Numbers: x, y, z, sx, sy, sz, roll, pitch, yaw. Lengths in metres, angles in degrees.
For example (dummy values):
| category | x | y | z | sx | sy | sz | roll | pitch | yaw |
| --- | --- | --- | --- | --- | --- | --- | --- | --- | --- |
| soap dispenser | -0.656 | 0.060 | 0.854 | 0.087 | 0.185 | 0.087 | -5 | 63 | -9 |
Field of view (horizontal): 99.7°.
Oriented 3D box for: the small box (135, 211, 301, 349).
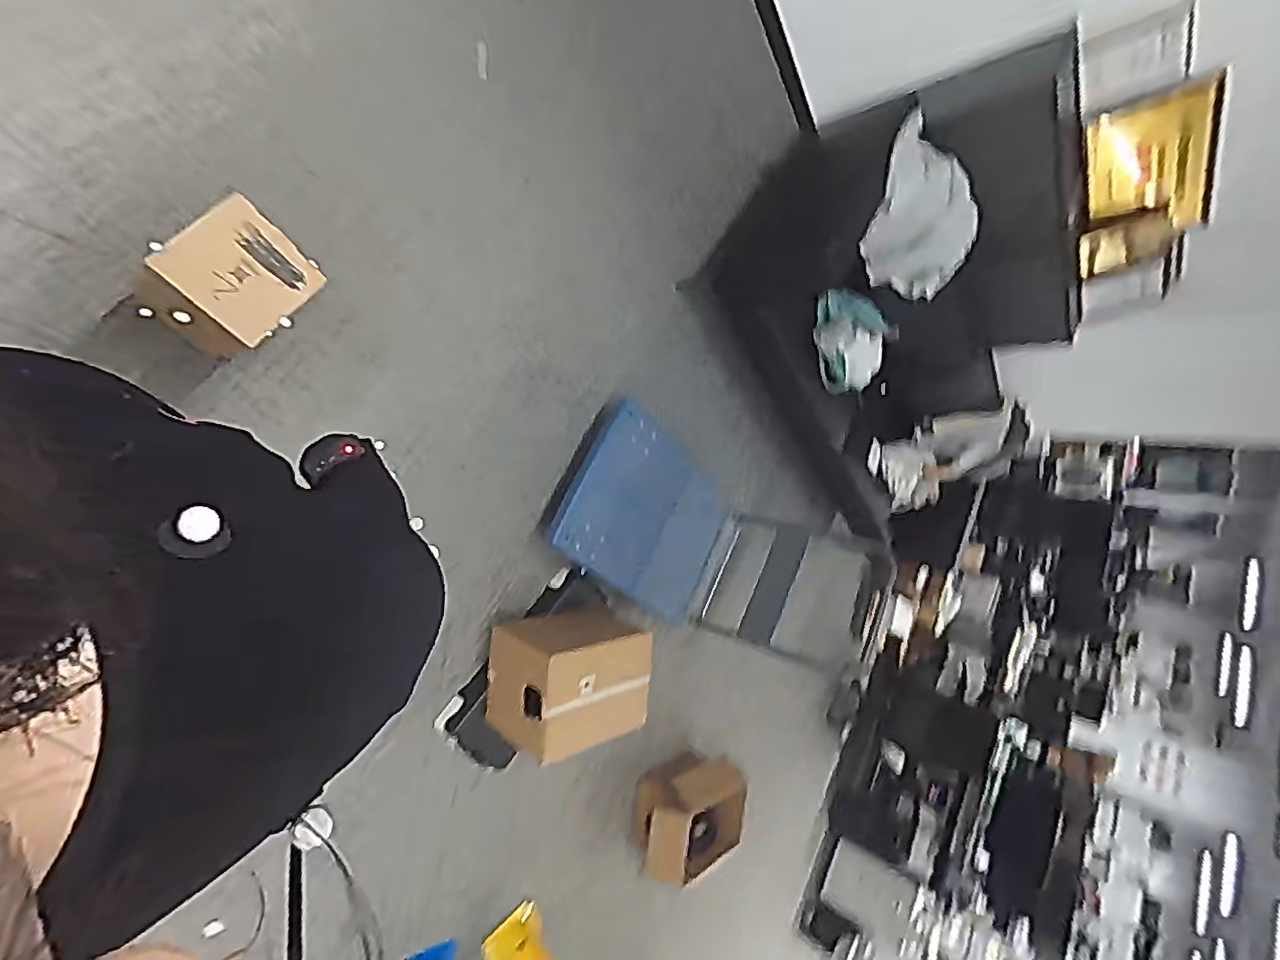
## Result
| category | x | y | z | sx | sy | sz | roll | pitch | yaw |
| --- | --- | --- | --- | --- | --- | --- | --- | --- | --- |
| small box | -0.790 | -0.361 | 1.010 | 0.168 | 0.176 | 0.179 | -56 | 132 | -22 |

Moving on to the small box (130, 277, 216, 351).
| category | x | y | z | sx | sy | sz | roll | pitch | yaw |
| --- | --- | --- | --- | --- | --- | --- | --- | --- | --- |
| small box | -0.905 | -0.386 | 1.124 | 0.179 | 0.176 | 0.168 | -58 | 132 | -23 |
